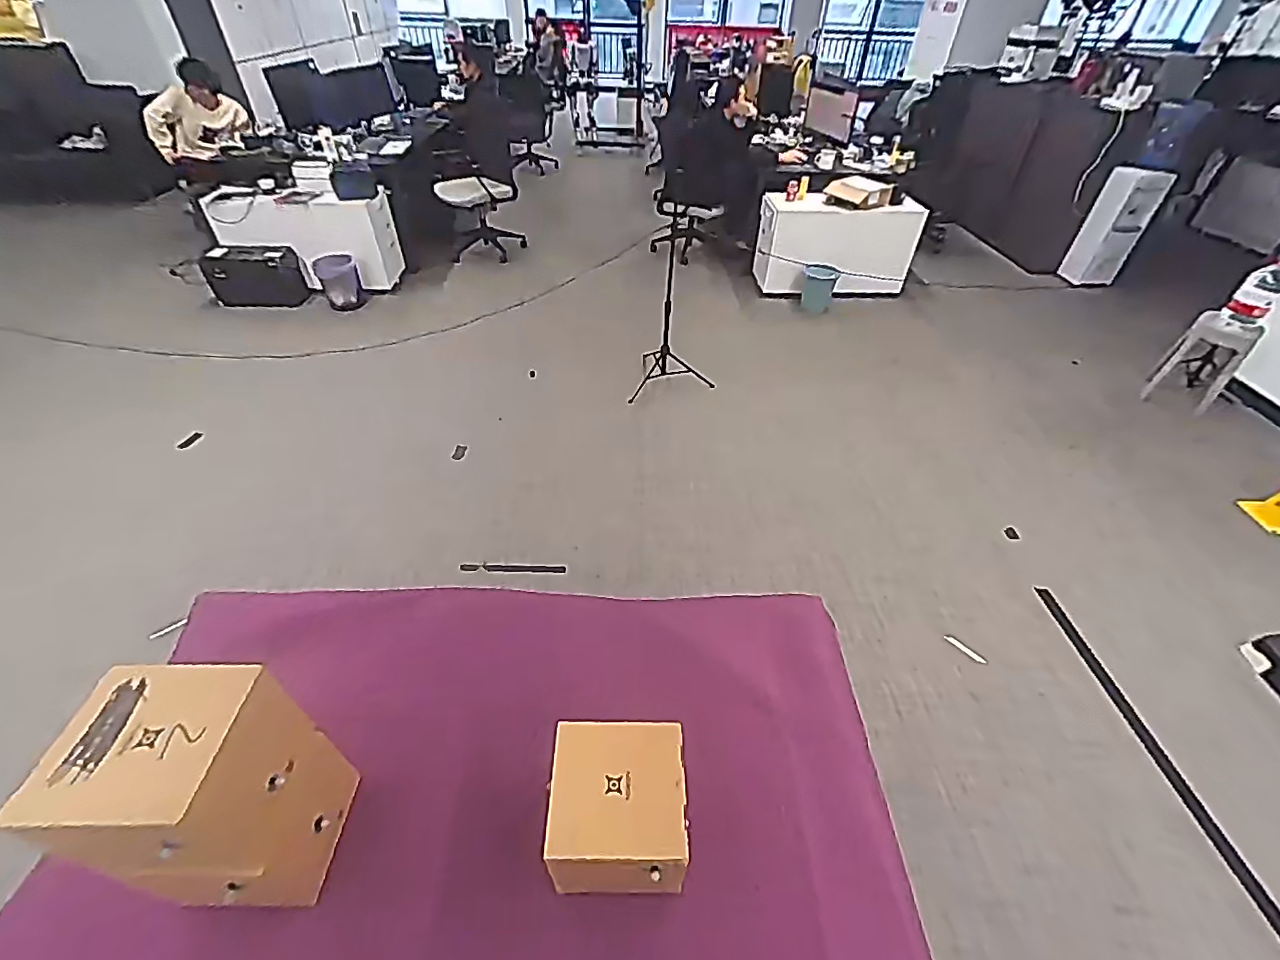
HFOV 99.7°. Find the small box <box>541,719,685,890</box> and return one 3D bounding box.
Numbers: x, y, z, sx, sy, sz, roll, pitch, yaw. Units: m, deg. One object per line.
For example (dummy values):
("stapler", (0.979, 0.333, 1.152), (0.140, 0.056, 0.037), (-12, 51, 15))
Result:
("small box", (-0.033, 0.451, 0.751), (0.179, 0.176, 0.168), (1, 42, -1))

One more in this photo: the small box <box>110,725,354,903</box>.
("small box", (-0.521, 0.450, 0.729), (0.179, 0.176, 0.168), (2, 42, -1))
